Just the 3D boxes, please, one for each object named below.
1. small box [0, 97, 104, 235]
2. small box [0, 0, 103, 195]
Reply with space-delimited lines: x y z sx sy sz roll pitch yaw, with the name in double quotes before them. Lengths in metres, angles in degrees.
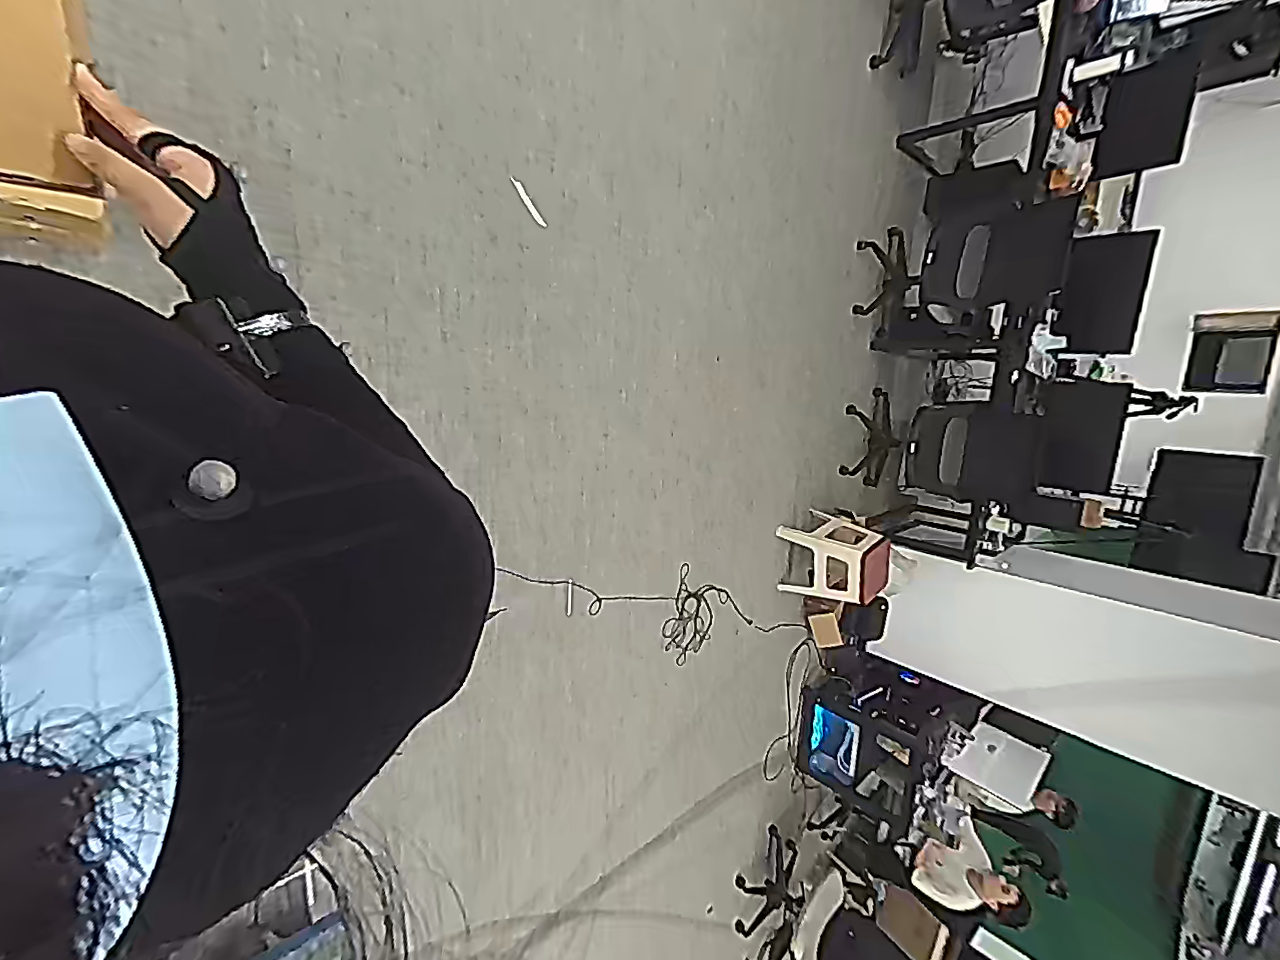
"small box" -0.918 -0.488 0.803 0.168 0.176 0.179 0 100 -43
"small box" -0.483 -0.302 0.355 0.168 0.176 0.179 -8 116 -40
